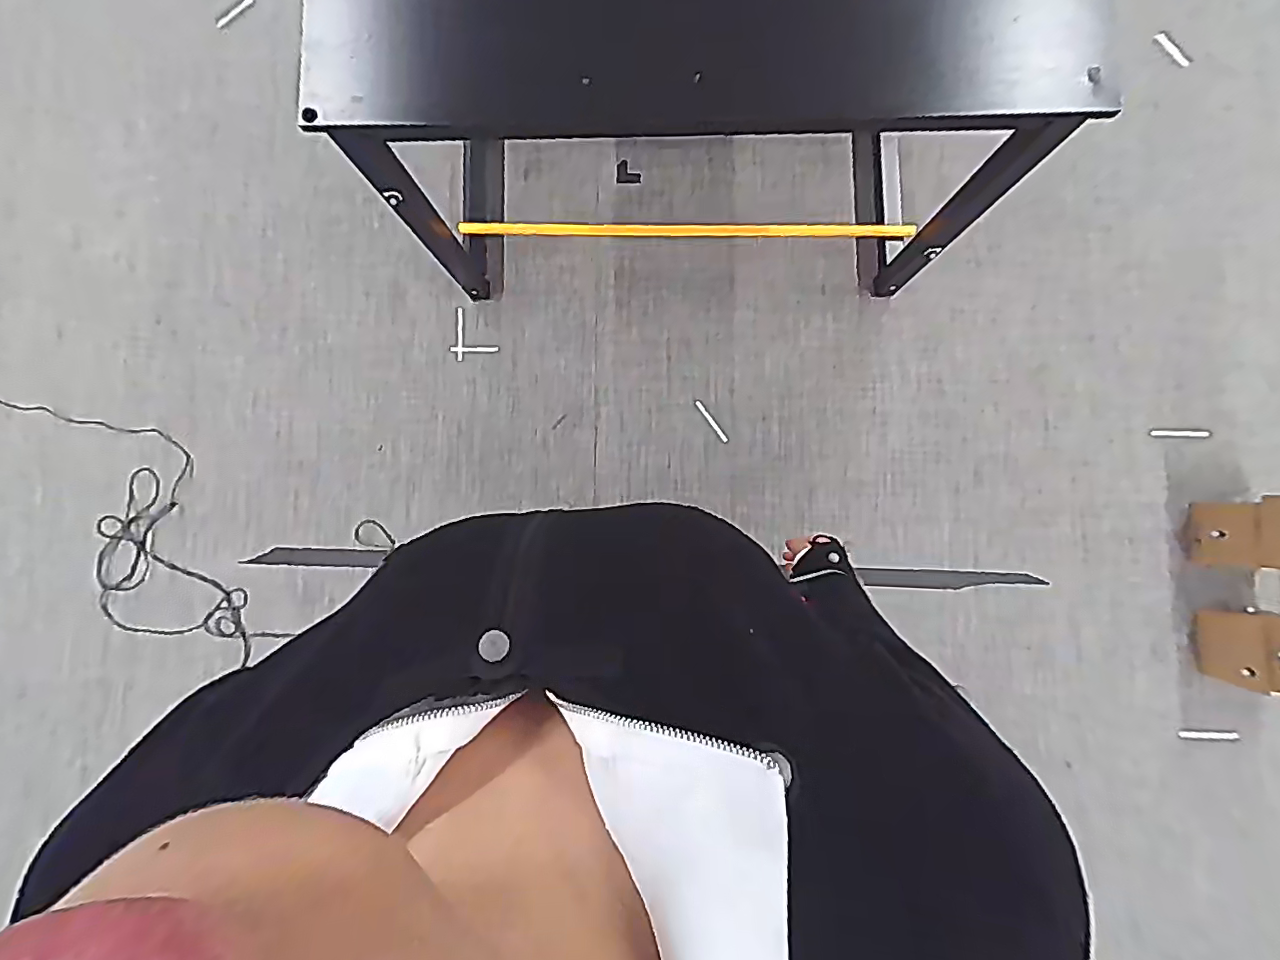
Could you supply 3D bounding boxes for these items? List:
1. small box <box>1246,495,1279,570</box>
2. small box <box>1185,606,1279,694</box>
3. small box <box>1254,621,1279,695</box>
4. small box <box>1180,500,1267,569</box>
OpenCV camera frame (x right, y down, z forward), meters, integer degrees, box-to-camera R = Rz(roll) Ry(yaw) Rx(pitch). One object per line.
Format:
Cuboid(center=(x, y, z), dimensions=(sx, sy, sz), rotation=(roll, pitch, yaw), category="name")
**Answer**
Cuboid(center=(1.544, 0.124, 1.224), dimensions=(0.168, 0.176, 0.179), rotation=(4, 87, 1), category="small box")
Cuboid(center=(1.550, 0.428, 1.378), dimensions=(0.168, 0.176, 0.179), rotation=(0, 88, 1), category="small box")
Cuboid(center=(1.558, 0.417, 1.215), dimensions=(0.179, 0.176, 0.168), rotation=(2, 87, 3), category="small box")
Cuboid(center=(1.550, 0.141, 1.390), dimensions=(0.179, 0.176, 0.168), rotation=(3, 87, 2), category="small box")
